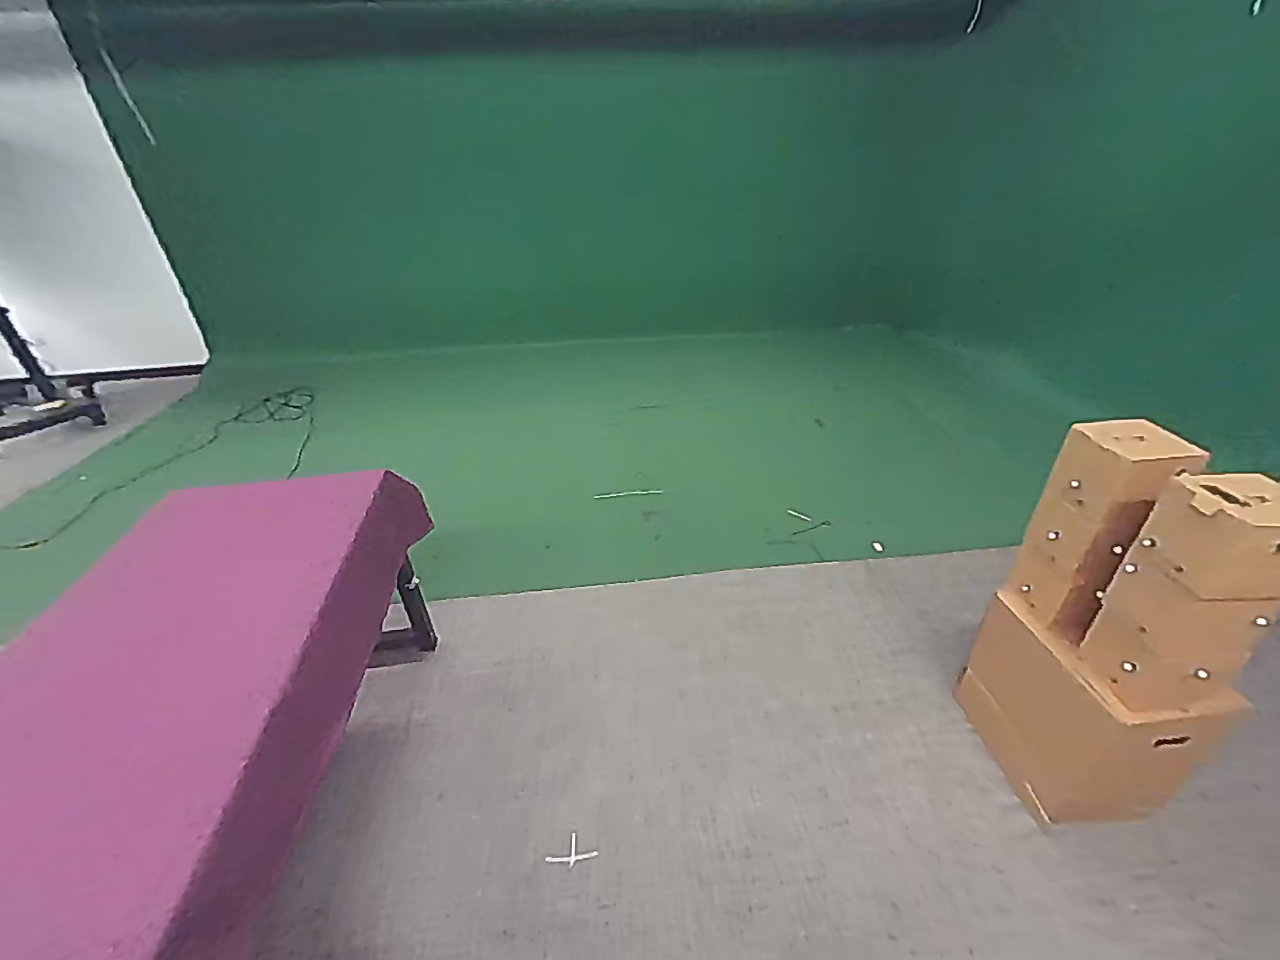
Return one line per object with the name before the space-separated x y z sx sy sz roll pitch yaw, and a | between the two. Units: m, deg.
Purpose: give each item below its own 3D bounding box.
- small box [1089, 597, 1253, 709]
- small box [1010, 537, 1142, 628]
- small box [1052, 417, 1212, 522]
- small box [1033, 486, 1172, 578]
small box | 1.133 0.377 1.178 0.179 0.176 0.168 -3 31 -1
small box | 1.098 0.255 1.379 0.179 0.176 0.168 -6 33 -2
small box | 1.077 -0.023 1.204 0.179 0.176 0.168 -5 32 -2
small box | 1.084 0.118 1.291 0.179 0.176 0.168 -6 33 -1
